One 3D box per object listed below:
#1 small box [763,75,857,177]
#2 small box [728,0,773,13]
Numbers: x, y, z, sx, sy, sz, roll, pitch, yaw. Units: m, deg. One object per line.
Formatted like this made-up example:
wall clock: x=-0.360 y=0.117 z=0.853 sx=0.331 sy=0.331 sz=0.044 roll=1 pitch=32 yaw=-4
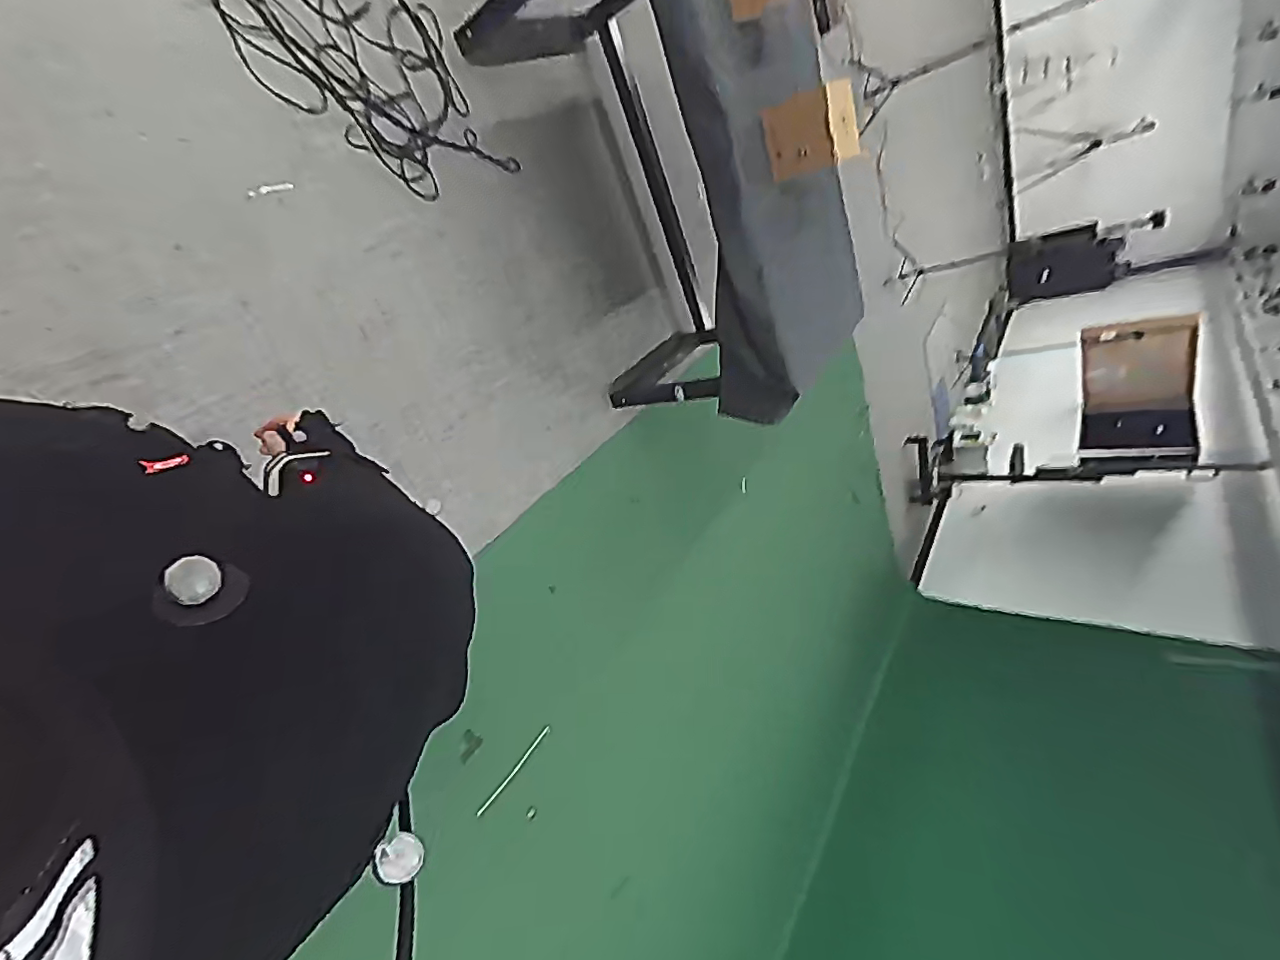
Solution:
small box: x=0.421 y=-0.880 z=1.352 sx=0.179 sy=0.176 sz=0.168 roll=-43 pitch=123 yaw=-40
small box: x=0.275 y=-1.166 z=1.173 sx=0.168 sy=0.176 sz=0.179 roll=-48 pitch=126 yaw=-37
